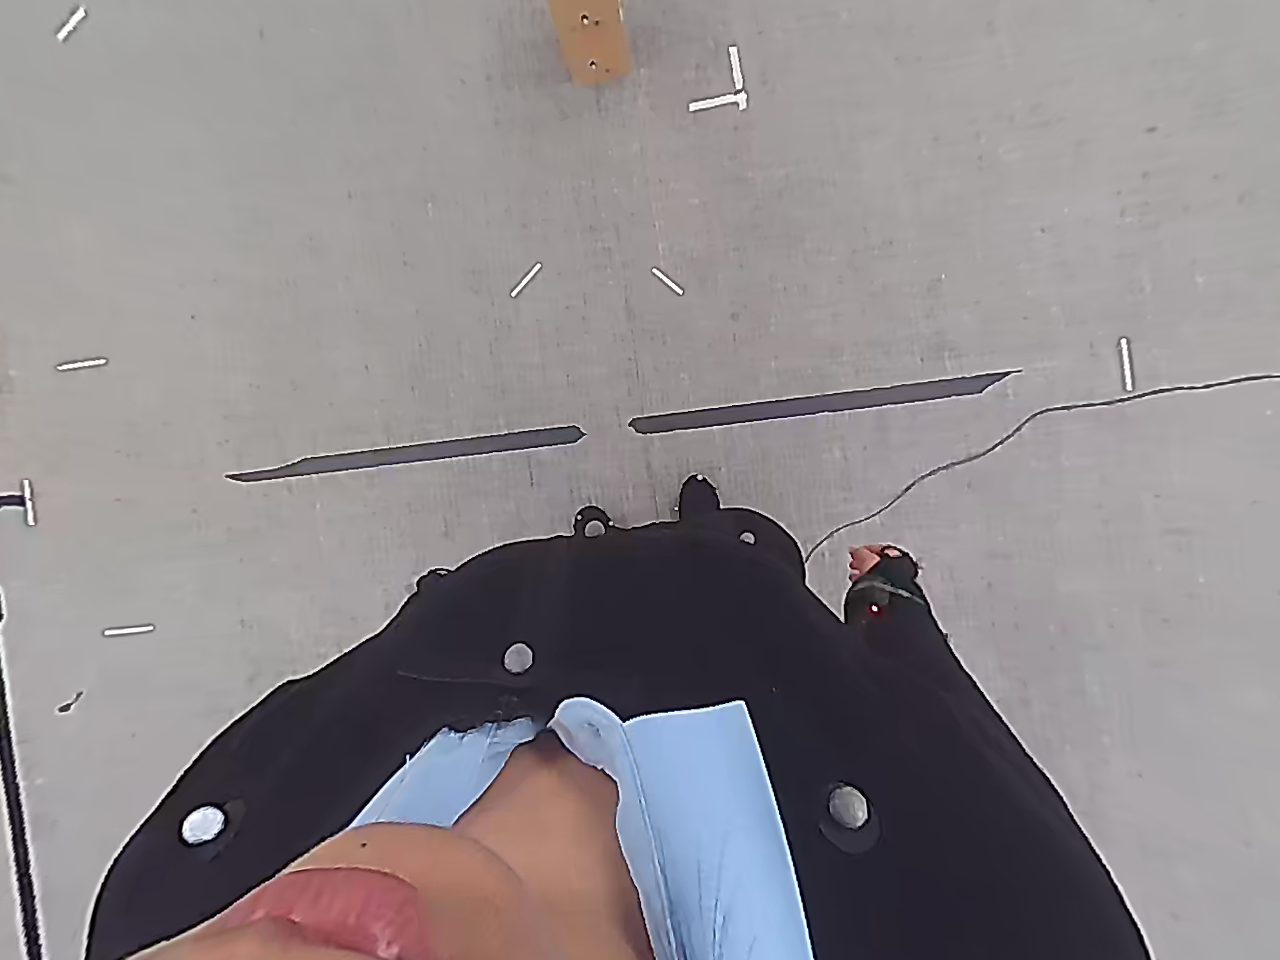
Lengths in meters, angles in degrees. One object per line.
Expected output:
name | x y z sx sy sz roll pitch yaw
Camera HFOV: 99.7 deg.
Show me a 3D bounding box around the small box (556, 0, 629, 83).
small box | -0.125 -1.201 1.424 0.168 0.176 0.179 -9 90 3
